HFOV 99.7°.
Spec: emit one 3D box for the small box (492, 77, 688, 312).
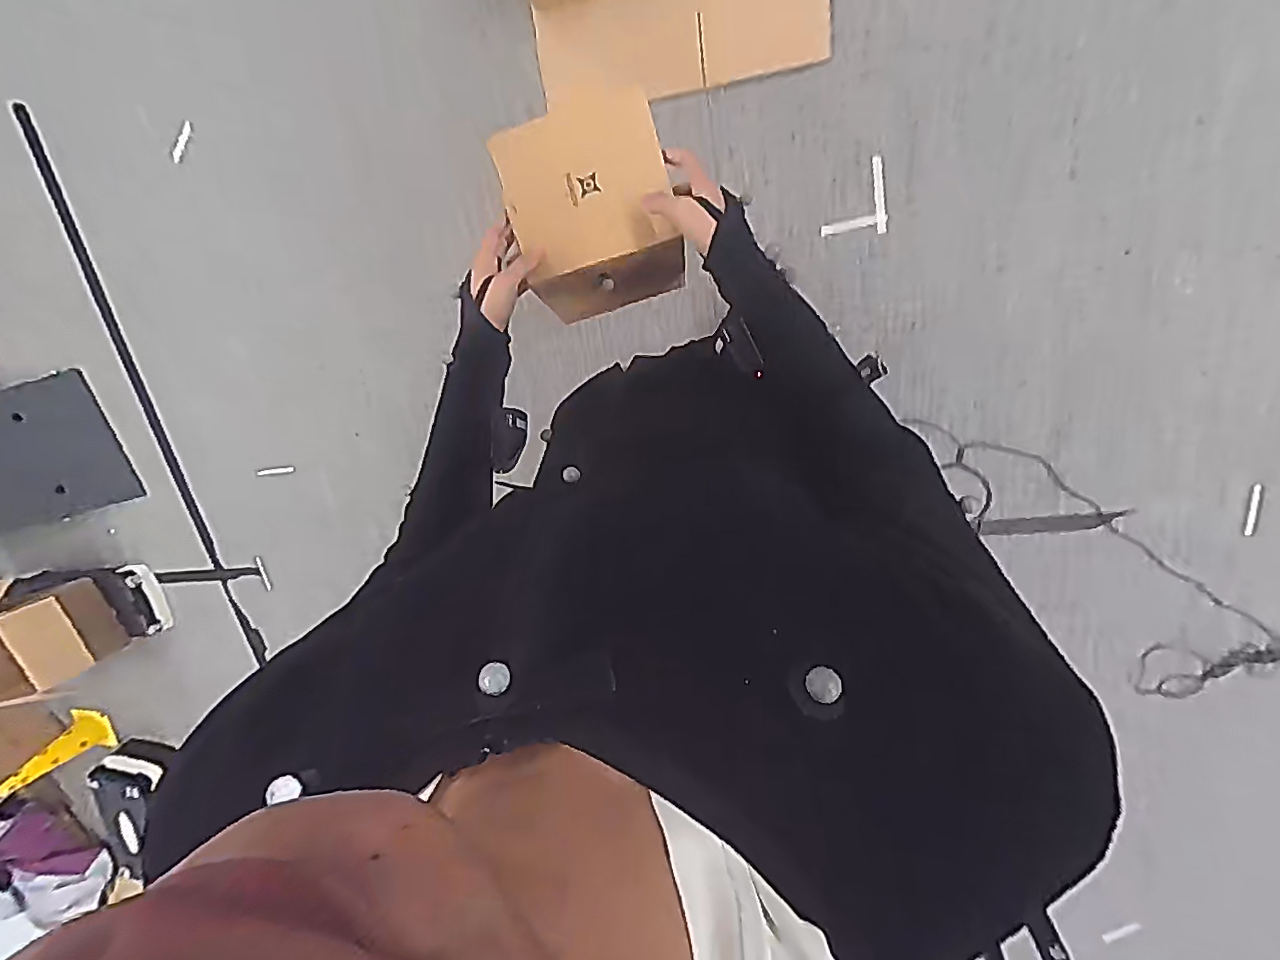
[{"bbox_3d":[-0.047,-0.319,0.645,0.179,0.176,0.168,-16,91,7],"label":"small box"}]
